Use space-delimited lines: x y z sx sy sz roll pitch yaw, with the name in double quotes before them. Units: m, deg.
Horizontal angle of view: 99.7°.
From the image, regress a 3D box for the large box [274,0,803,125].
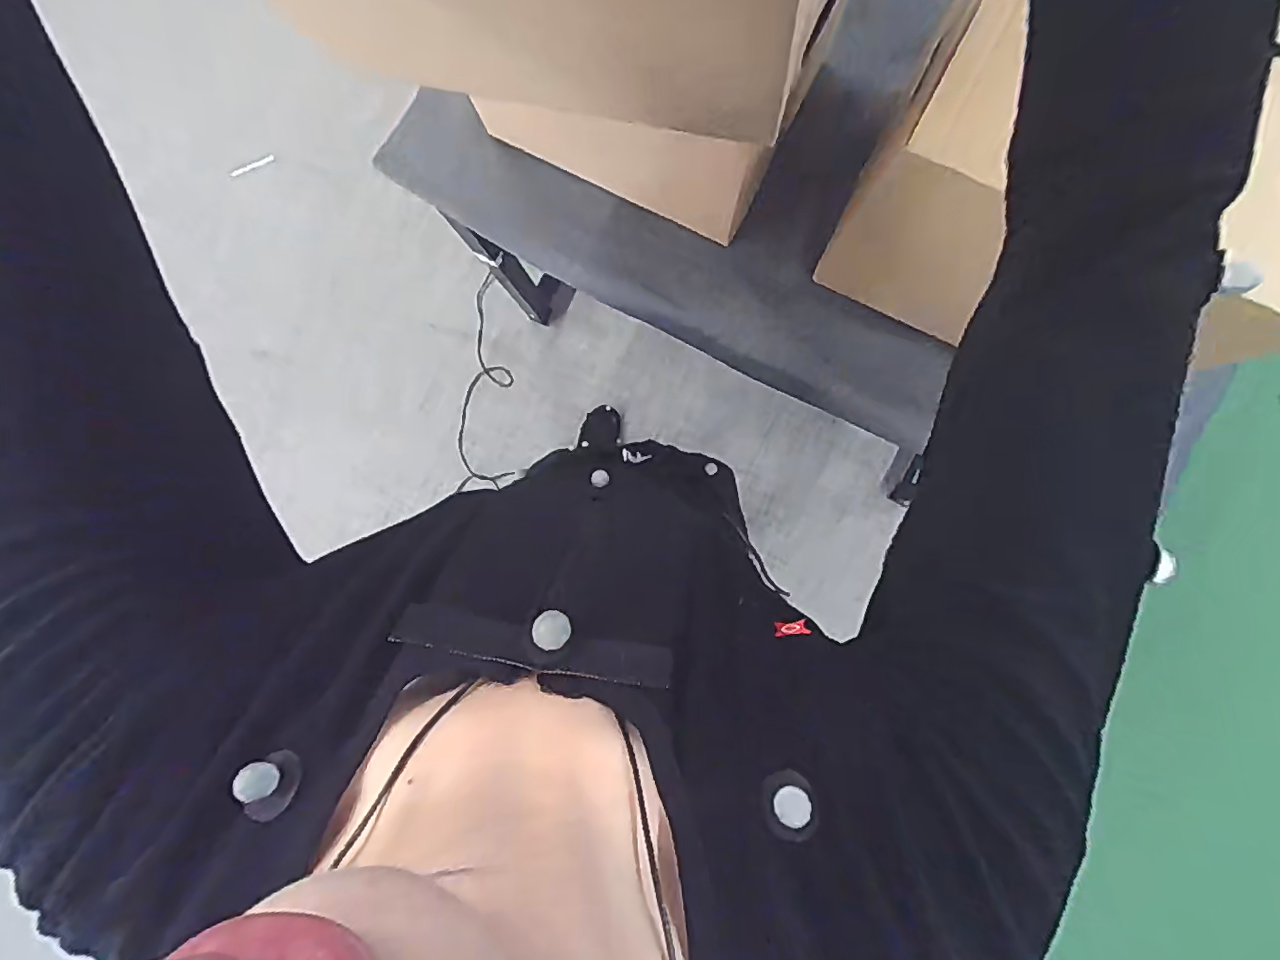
"large box" -0.073 -0.459 0.302 0.408 0.320 0.320 13 101 5
